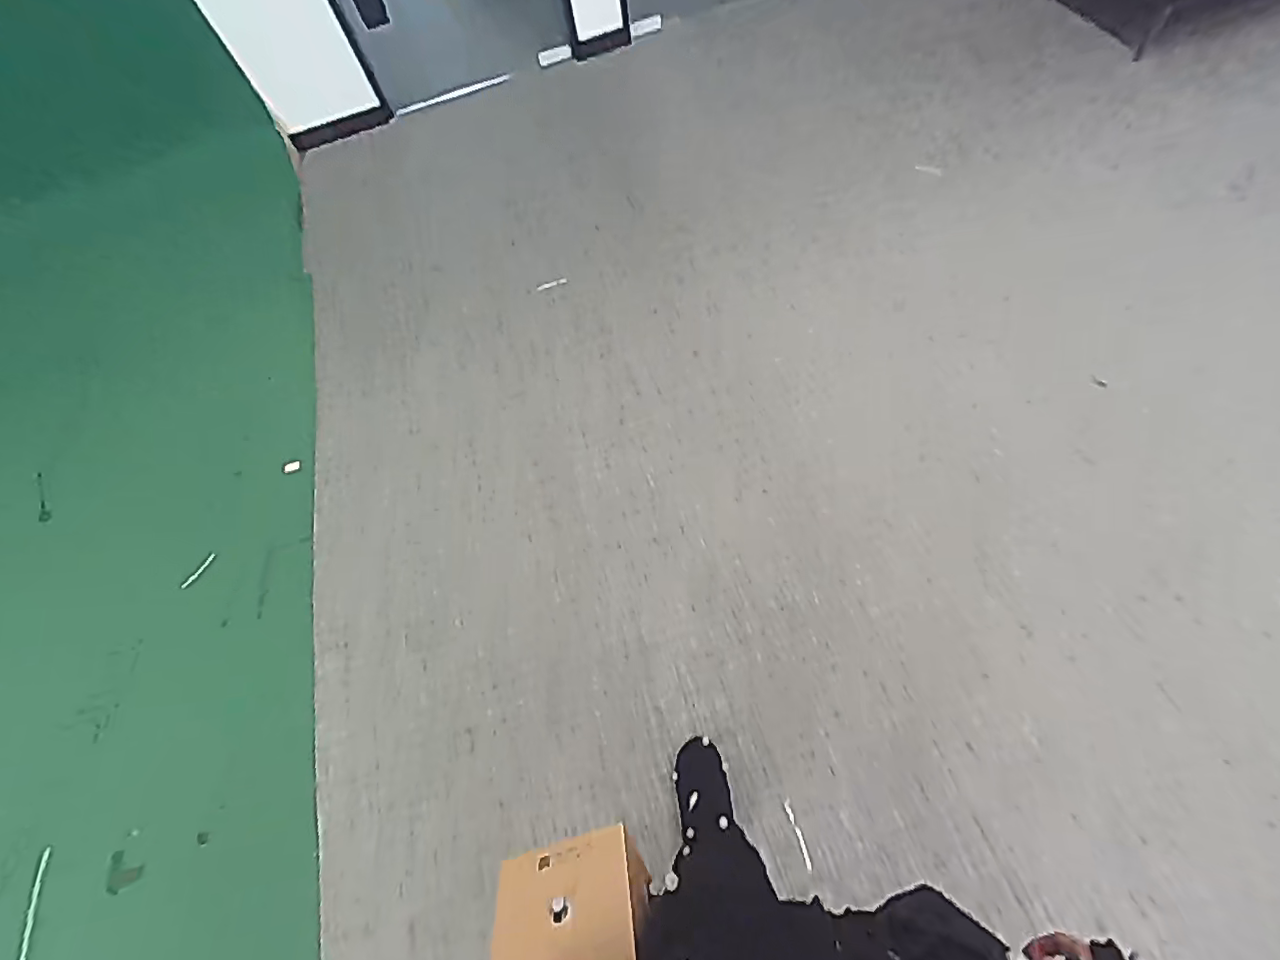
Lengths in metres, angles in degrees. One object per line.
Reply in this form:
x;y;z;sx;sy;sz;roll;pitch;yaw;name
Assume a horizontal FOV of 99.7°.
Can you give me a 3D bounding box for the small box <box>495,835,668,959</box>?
-0.065;0.555;0.636;0.168;0.179;0.176;-19;24;0;small box
